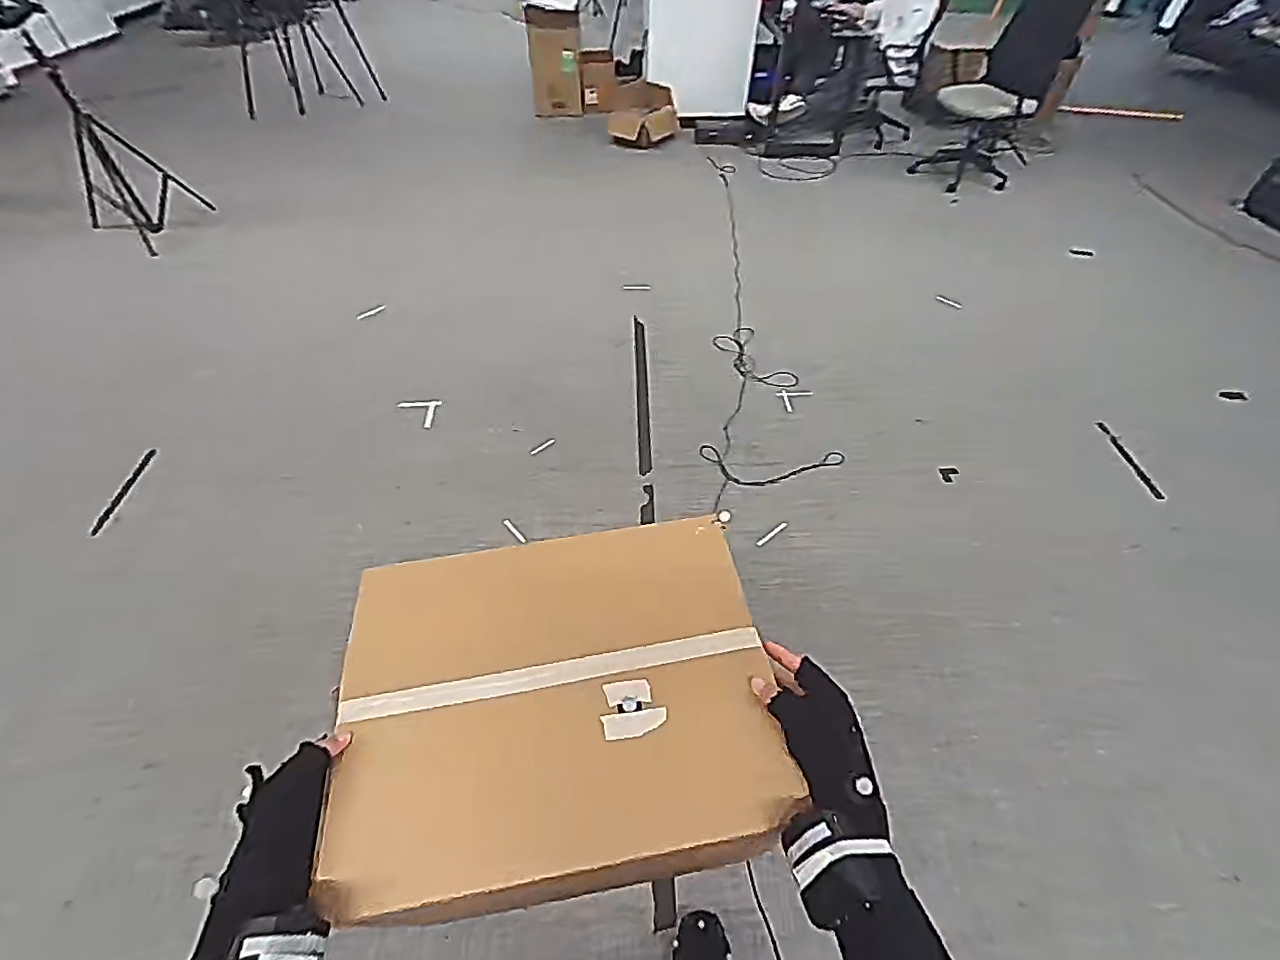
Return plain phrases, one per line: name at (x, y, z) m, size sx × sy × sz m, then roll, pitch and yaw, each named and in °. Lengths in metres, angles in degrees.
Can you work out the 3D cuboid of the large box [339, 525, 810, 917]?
large box at (-0.070, 0.292, 0.653) m, size 0.408 × 0.320 × 0.320 m, roll -7°, pitch 51°, yaw -5°
